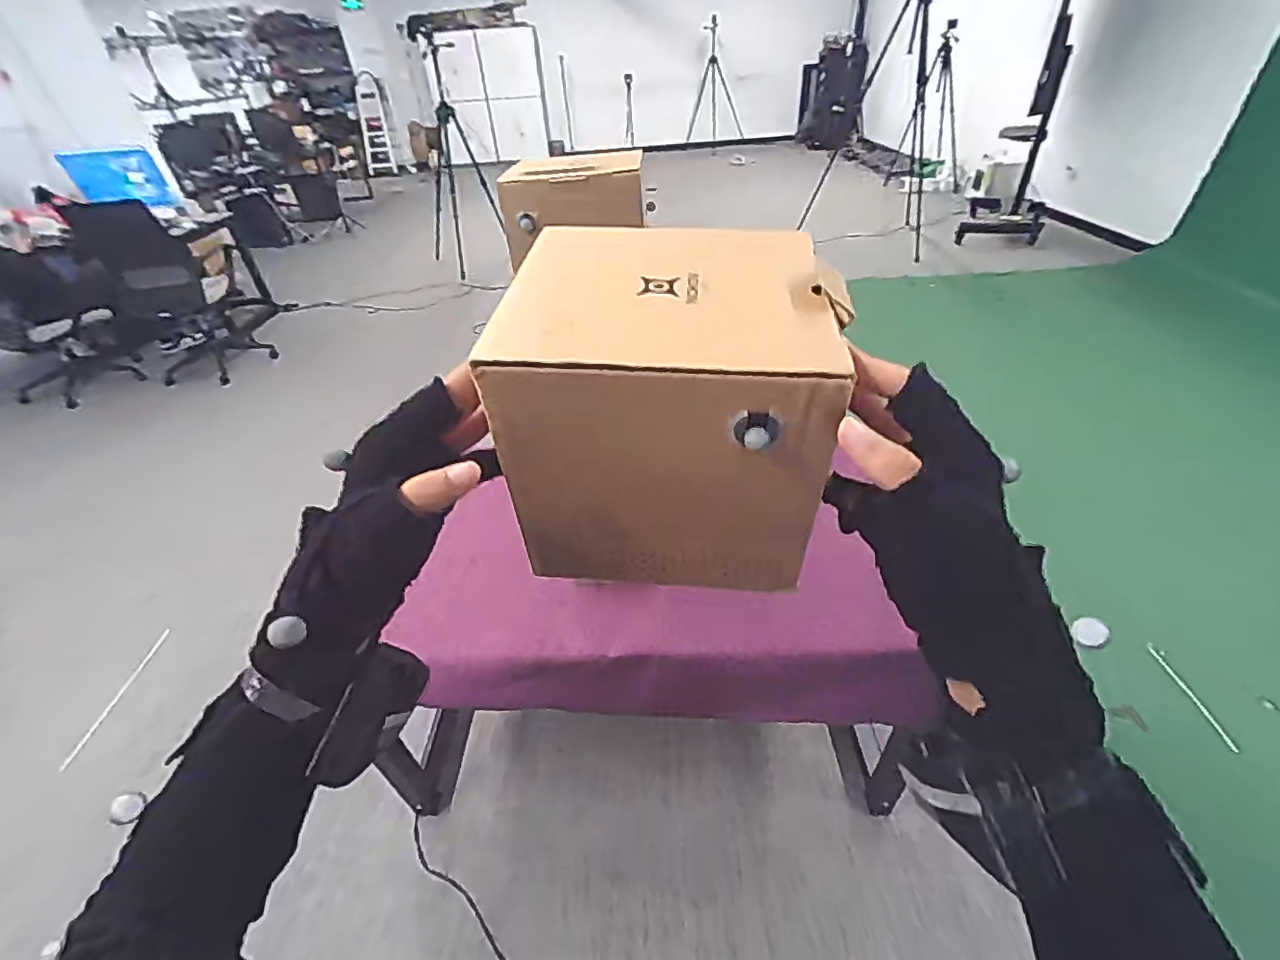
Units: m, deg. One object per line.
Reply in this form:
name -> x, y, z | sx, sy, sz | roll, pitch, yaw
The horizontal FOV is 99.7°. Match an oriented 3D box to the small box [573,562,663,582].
small box -> -0.041, 0.076, 1.016 | 0.168, 0.176, 0.179 | -1, 38, 4

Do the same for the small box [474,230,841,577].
small box -> 0.015, -0.051, 0.361 | 0.179, 0.176, 0.168 | 3, 44, 4
